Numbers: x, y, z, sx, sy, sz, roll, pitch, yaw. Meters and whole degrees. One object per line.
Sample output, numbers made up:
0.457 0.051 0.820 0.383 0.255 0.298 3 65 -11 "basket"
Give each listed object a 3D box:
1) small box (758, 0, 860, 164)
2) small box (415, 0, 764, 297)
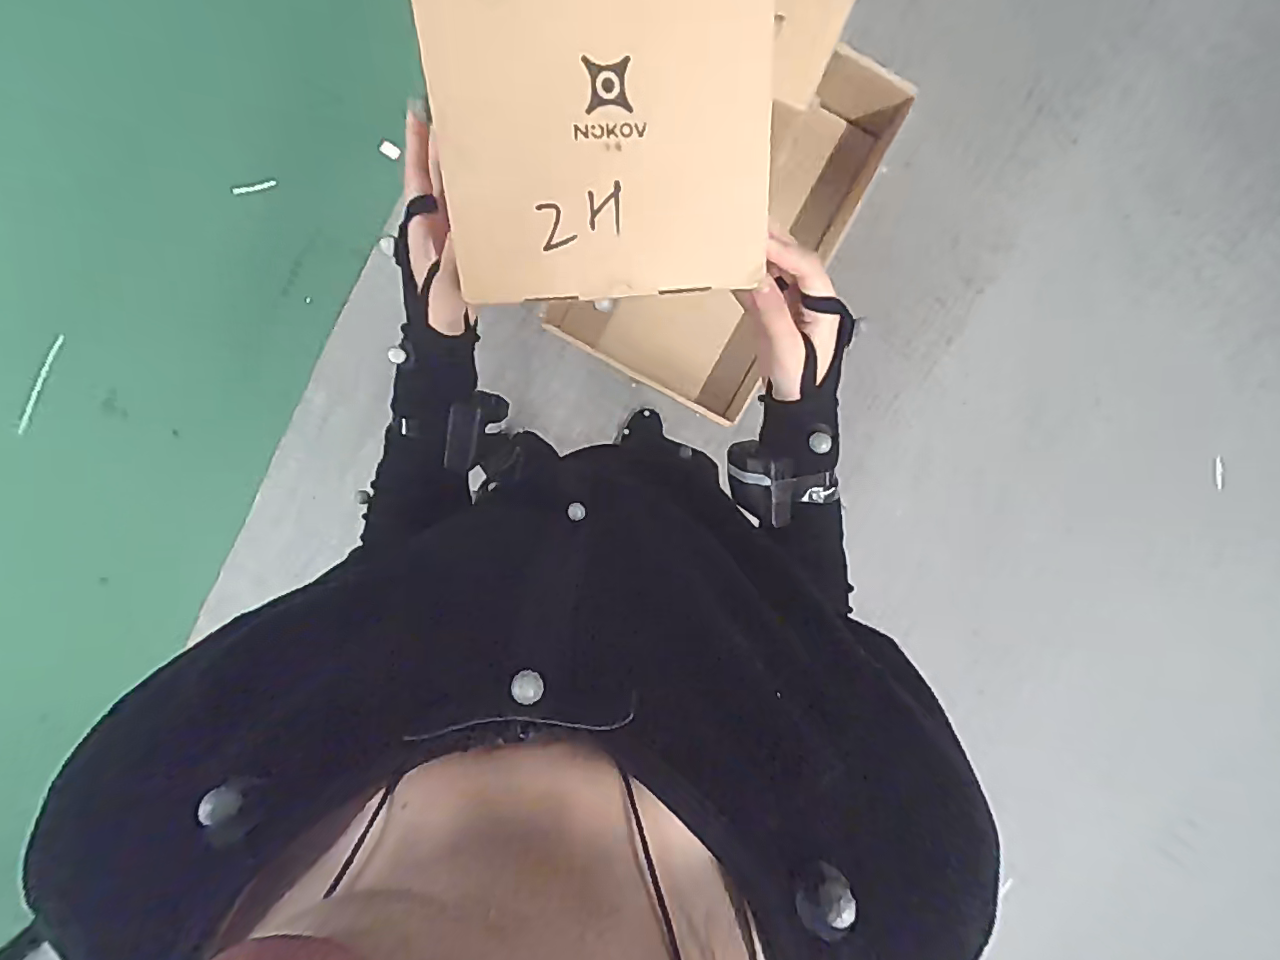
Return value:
0.170 -0.585 0.765 0.179 0.176 0.168 24 97 -1 "small box"
-0.032 -0.213 0.340 0.168 0.176 0.179 -6 112 -7 "small box"
